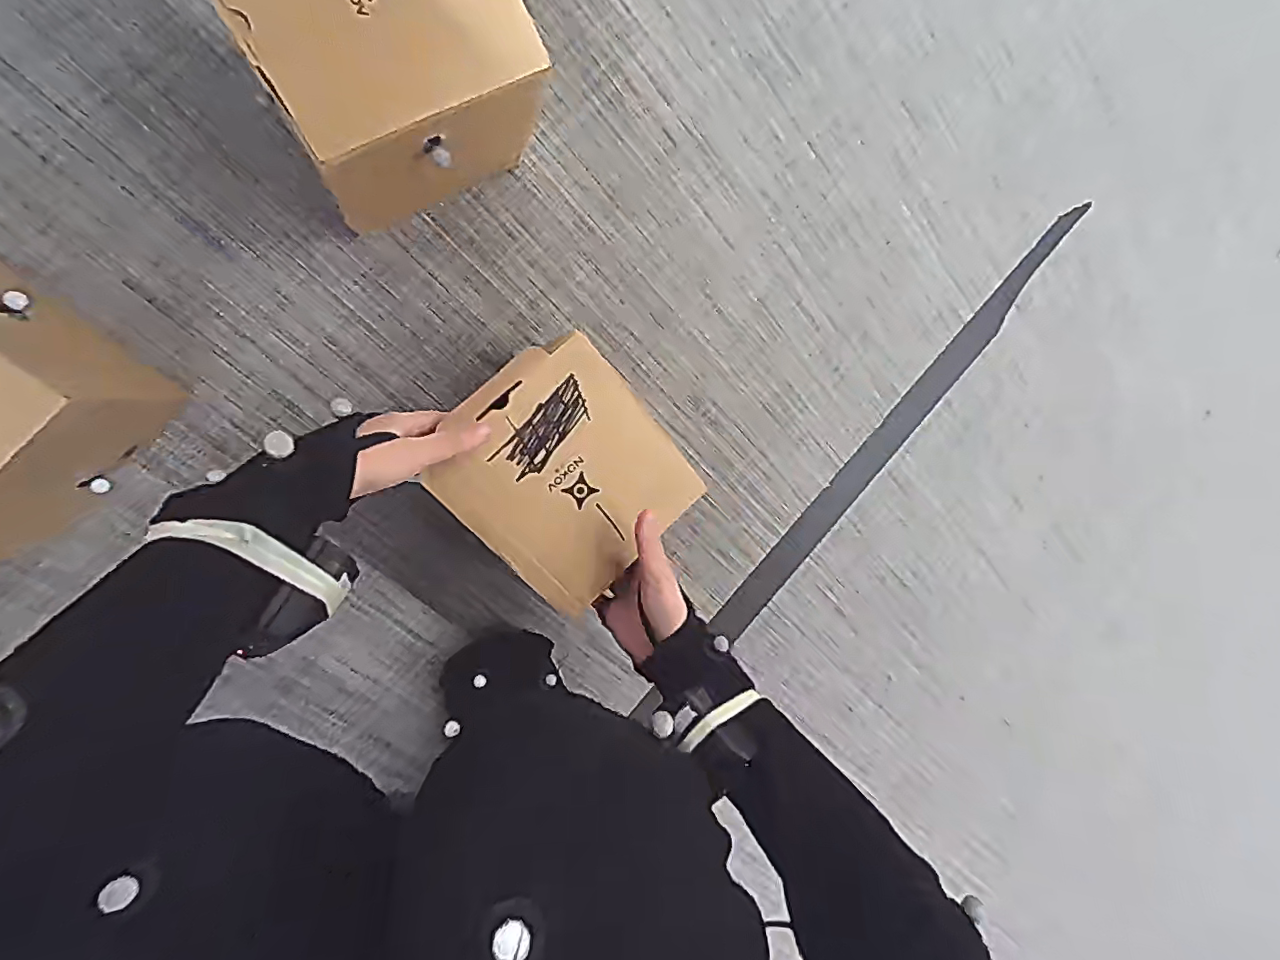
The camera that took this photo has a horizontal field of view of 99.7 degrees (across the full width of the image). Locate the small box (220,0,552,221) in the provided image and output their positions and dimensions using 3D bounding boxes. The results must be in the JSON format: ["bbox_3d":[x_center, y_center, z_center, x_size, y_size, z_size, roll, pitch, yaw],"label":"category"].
[{"bbox_3d":[-0.194,-0.329,0.410,0.179,0.176,0.168,-32,108,-11],"label":"small box"}]
